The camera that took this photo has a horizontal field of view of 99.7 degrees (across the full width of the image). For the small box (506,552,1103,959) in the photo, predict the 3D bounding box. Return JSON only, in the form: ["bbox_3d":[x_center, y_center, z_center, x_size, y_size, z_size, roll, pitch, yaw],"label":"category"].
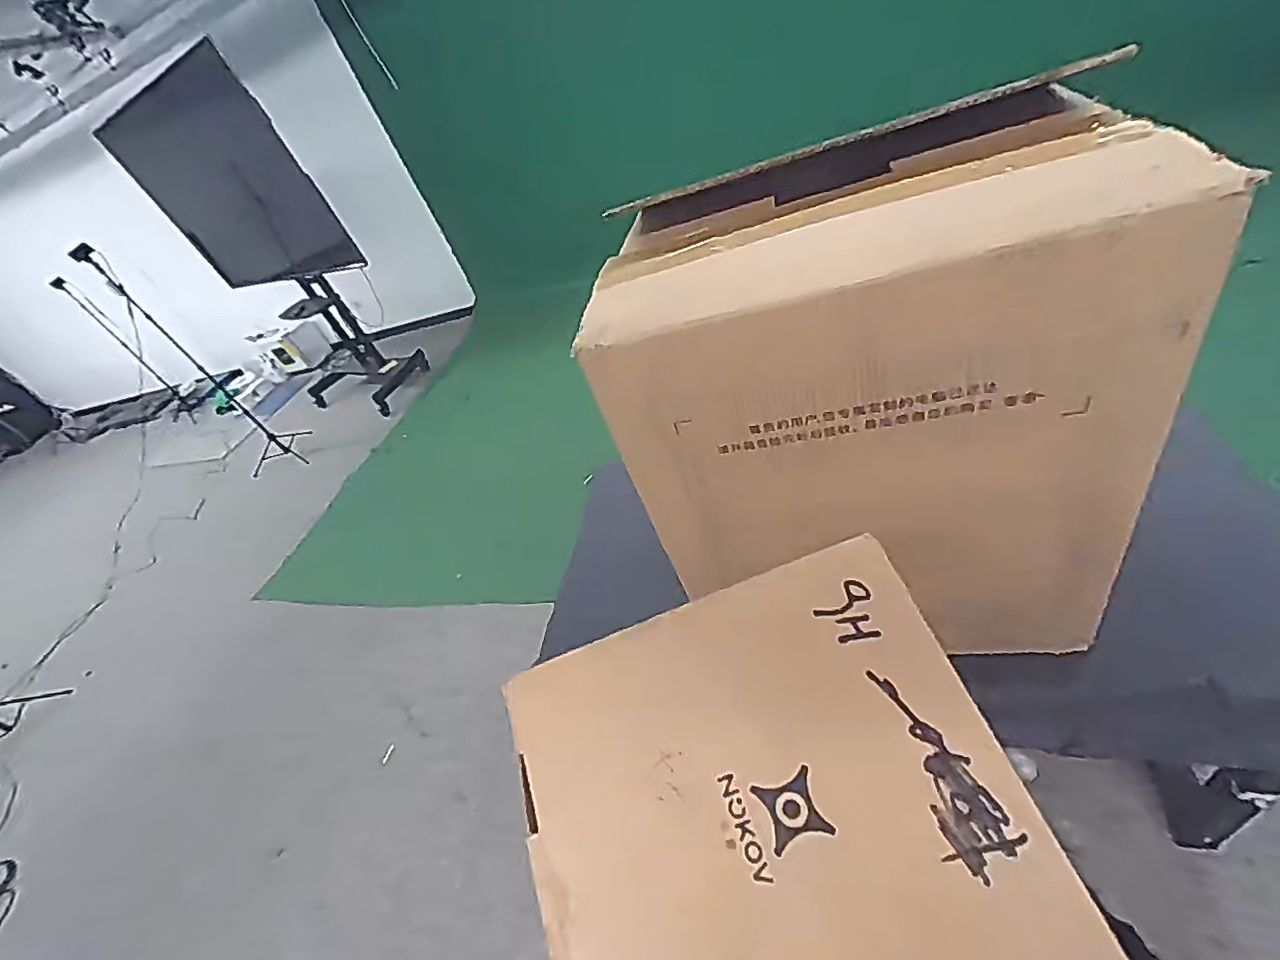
[{"bbox_3d":[0.060,0.161,0.271,0.179,0.176,0.168,-21,65,1],"label":"small box"}]
